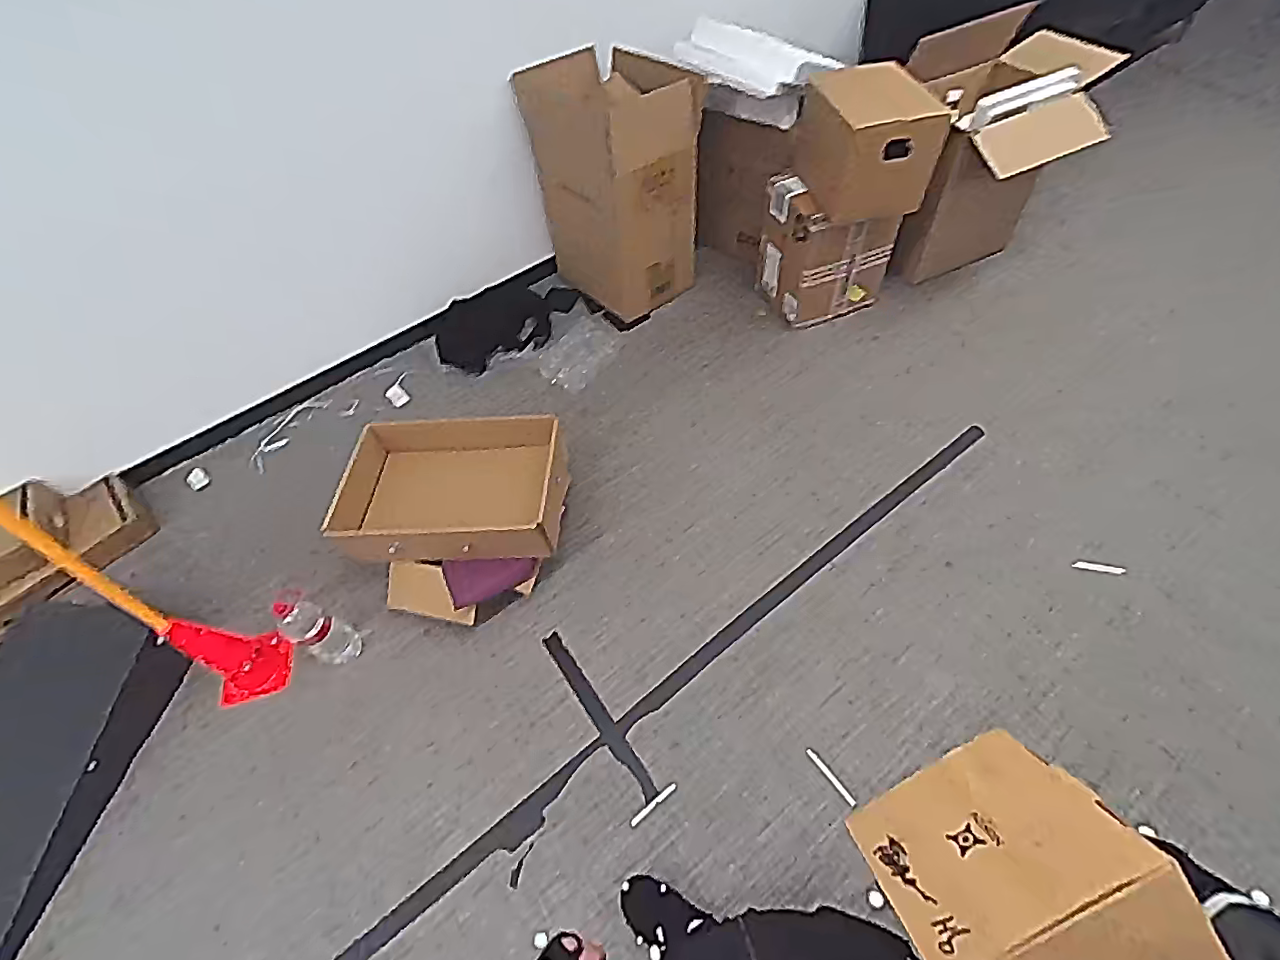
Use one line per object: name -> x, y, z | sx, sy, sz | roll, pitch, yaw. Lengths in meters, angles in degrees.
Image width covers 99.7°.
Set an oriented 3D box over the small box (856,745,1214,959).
small box -> 0.322, 0.370, 0.445 | 0.179, 0.168, 0.176 | -30, 93, 1
